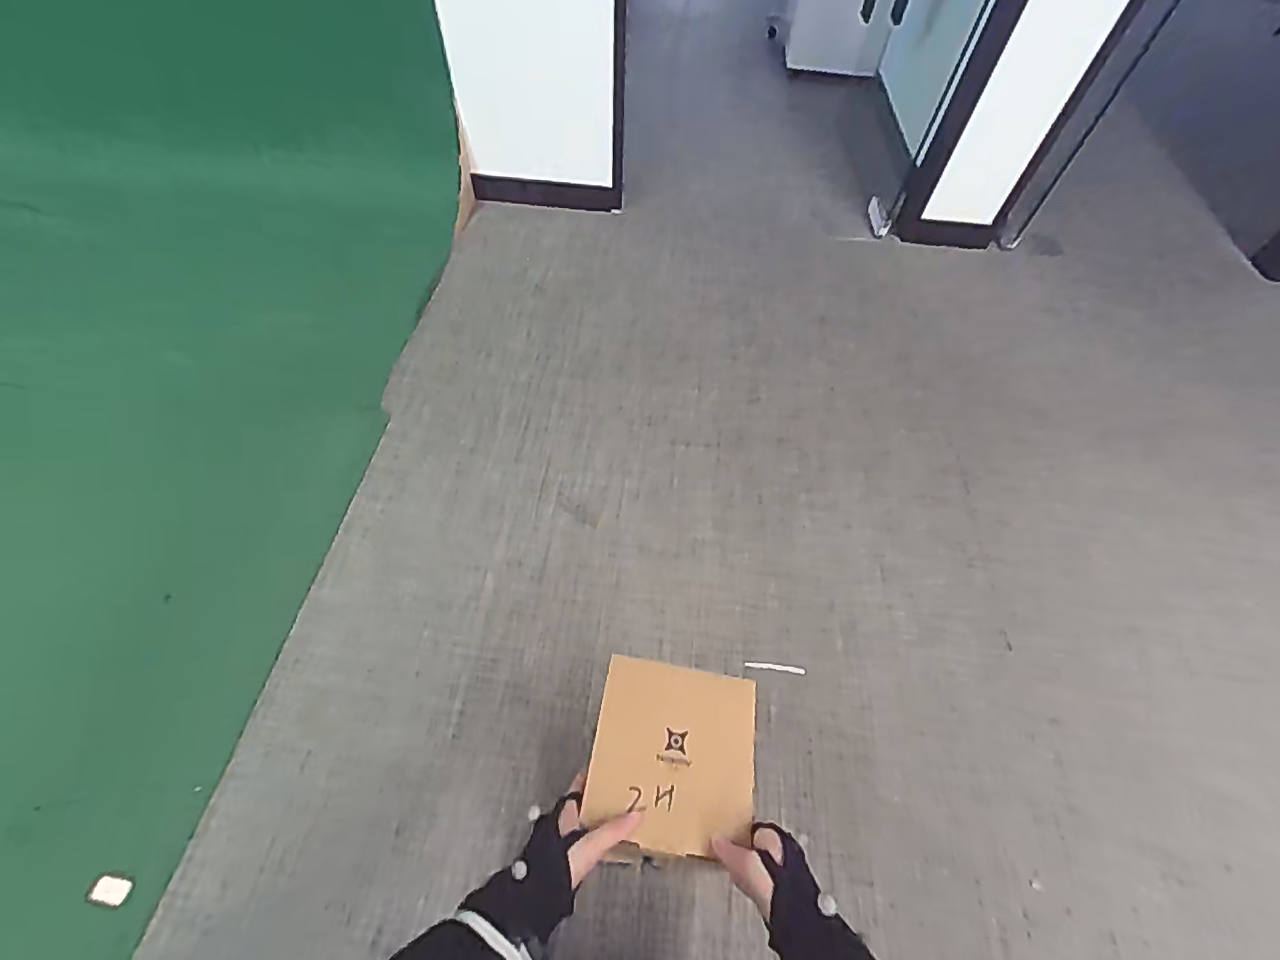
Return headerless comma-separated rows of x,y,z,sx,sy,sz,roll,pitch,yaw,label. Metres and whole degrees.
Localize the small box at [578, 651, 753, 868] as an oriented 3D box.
0.027,0.326,0.626,0.168,0.176,0.179,11,52,3,small box
